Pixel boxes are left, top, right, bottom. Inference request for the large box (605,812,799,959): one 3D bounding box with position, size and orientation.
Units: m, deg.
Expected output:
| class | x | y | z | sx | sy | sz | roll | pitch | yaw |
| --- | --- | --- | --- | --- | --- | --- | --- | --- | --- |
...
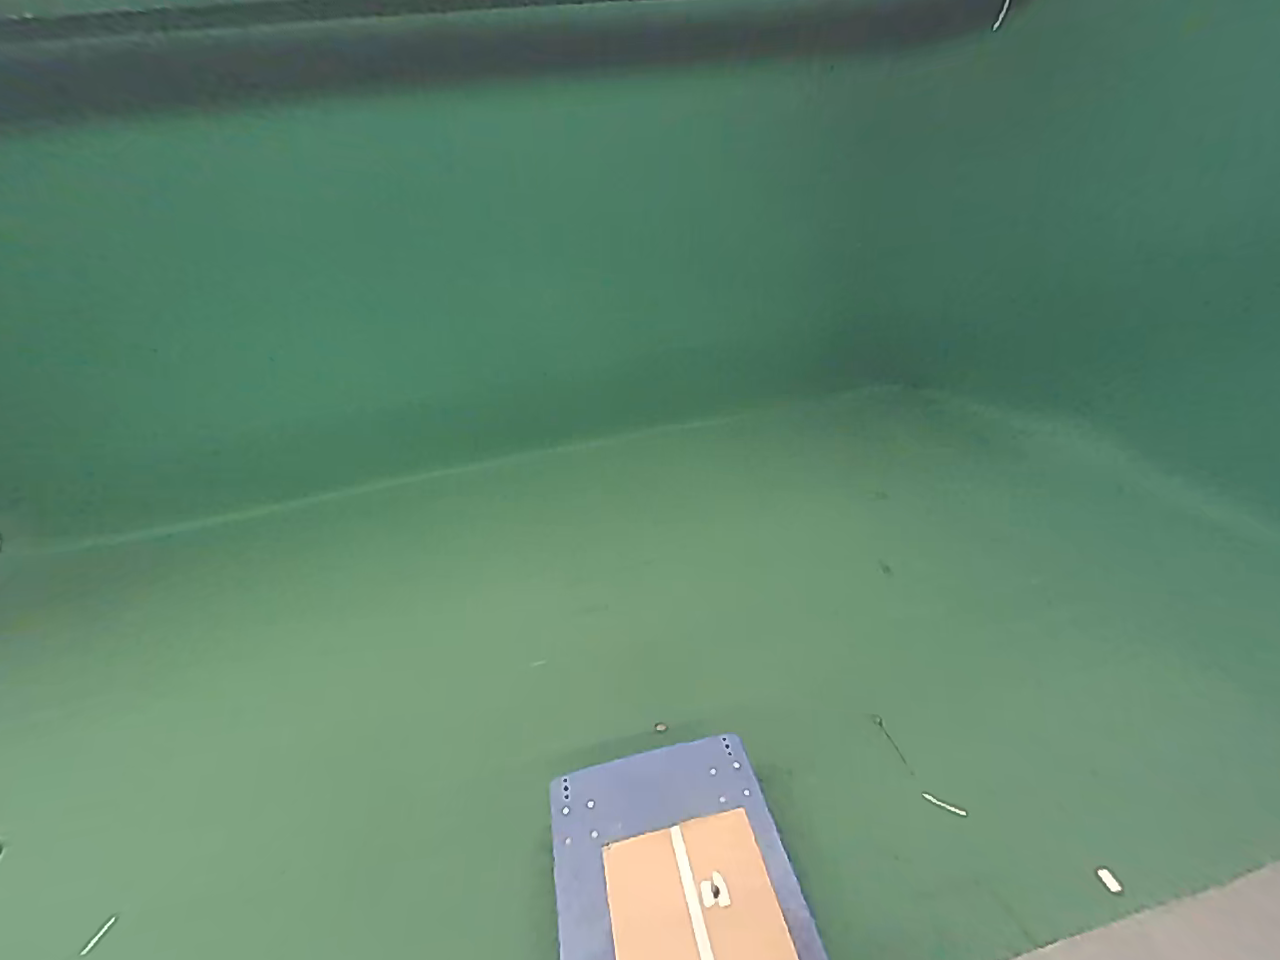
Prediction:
| class | x | y | z | sx | sy | sz | roll | pitch | yaw |
| --- | --- | --- | --- | --- | --- | --- | --- | --- | --- |
| large box | 0.134 | 0.964 | 1.048 | 0.320 | 0.320 | 0.408 | -11 | 30 | -7 |
